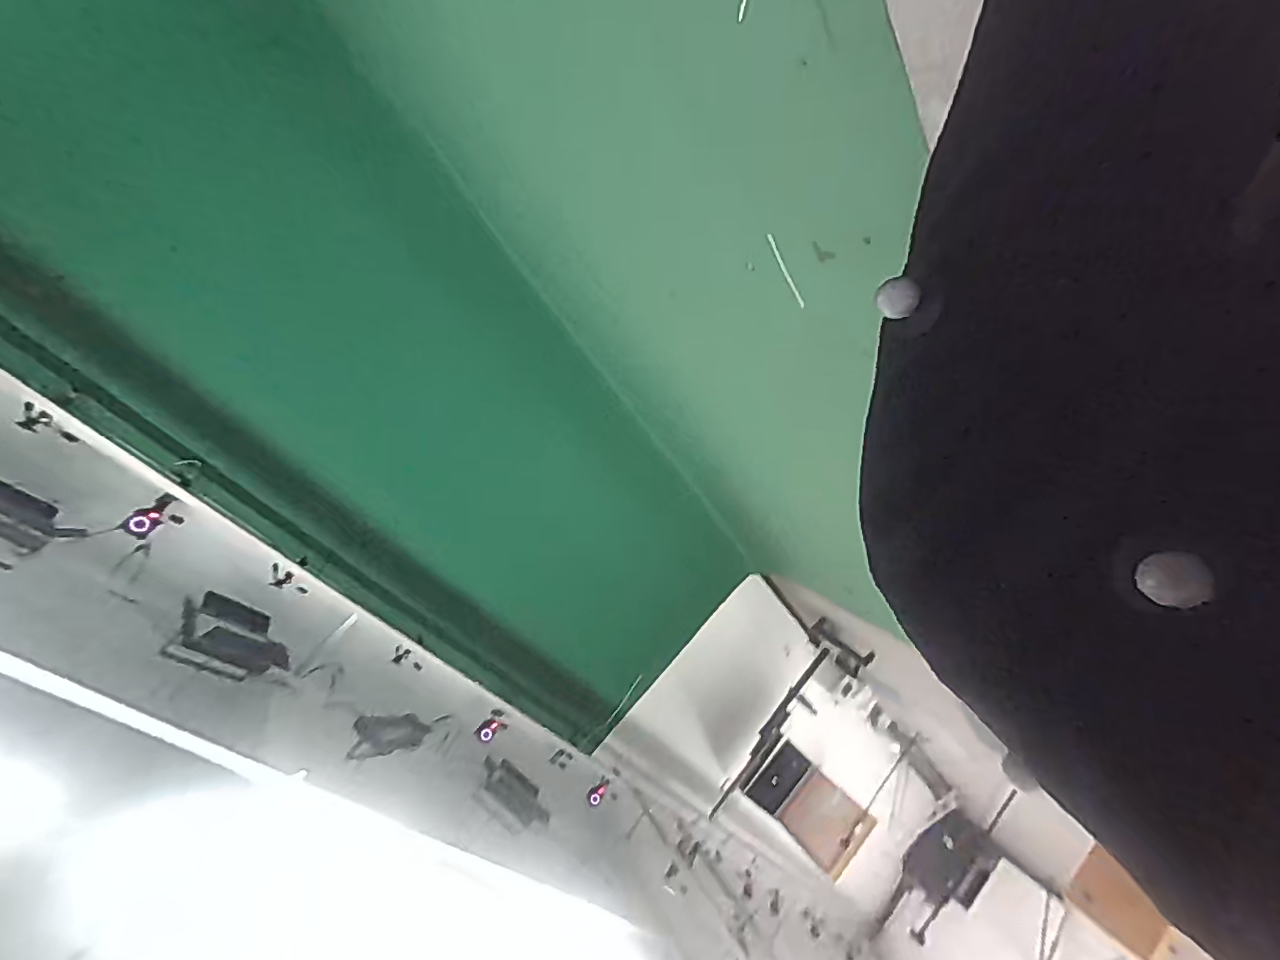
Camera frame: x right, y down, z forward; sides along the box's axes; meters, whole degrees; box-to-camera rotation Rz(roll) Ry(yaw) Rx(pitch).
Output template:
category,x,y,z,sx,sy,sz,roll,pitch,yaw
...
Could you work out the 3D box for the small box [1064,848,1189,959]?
category,x,y,z,sx,sy,sz,roll,pitch,yaw
small box,1.182,1.046,1.309,0.168,0.176,0.179,49,169,-30
